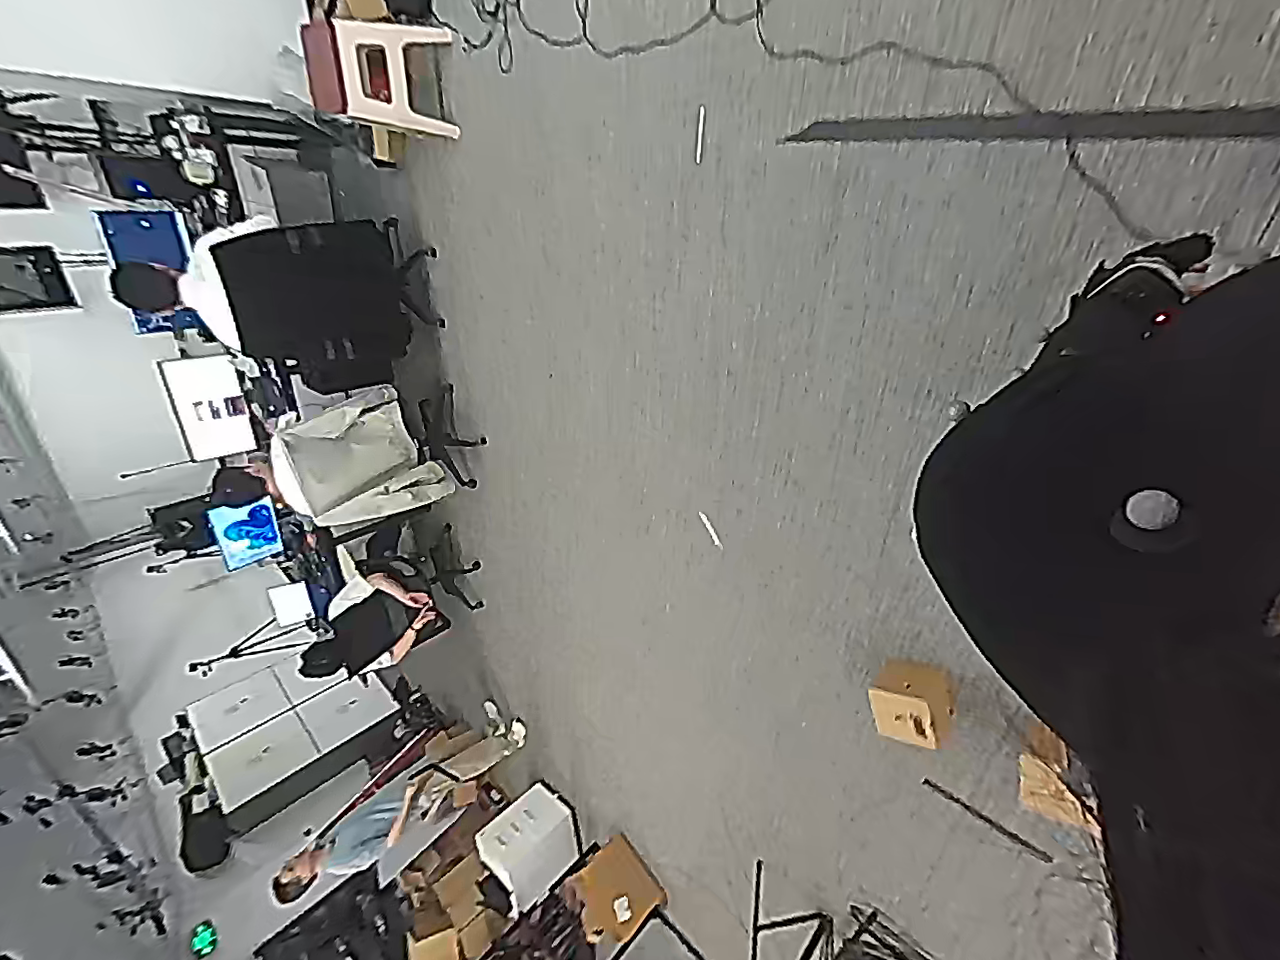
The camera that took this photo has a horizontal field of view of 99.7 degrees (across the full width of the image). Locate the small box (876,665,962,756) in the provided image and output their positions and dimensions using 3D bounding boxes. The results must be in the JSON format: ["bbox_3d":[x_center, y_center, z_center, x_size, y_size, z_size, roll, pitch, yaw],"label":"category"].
[{"bbox_3d":[0.841,0.680,1.618,0.179,0.176,0.168,-5,104,49],"label":"small box"}]

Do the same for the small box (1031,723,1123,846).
[{"bbox_3d":[1.109,0.761,1.372,0.168,0.176,0.179,3,110,45],"label":"small box"}]
